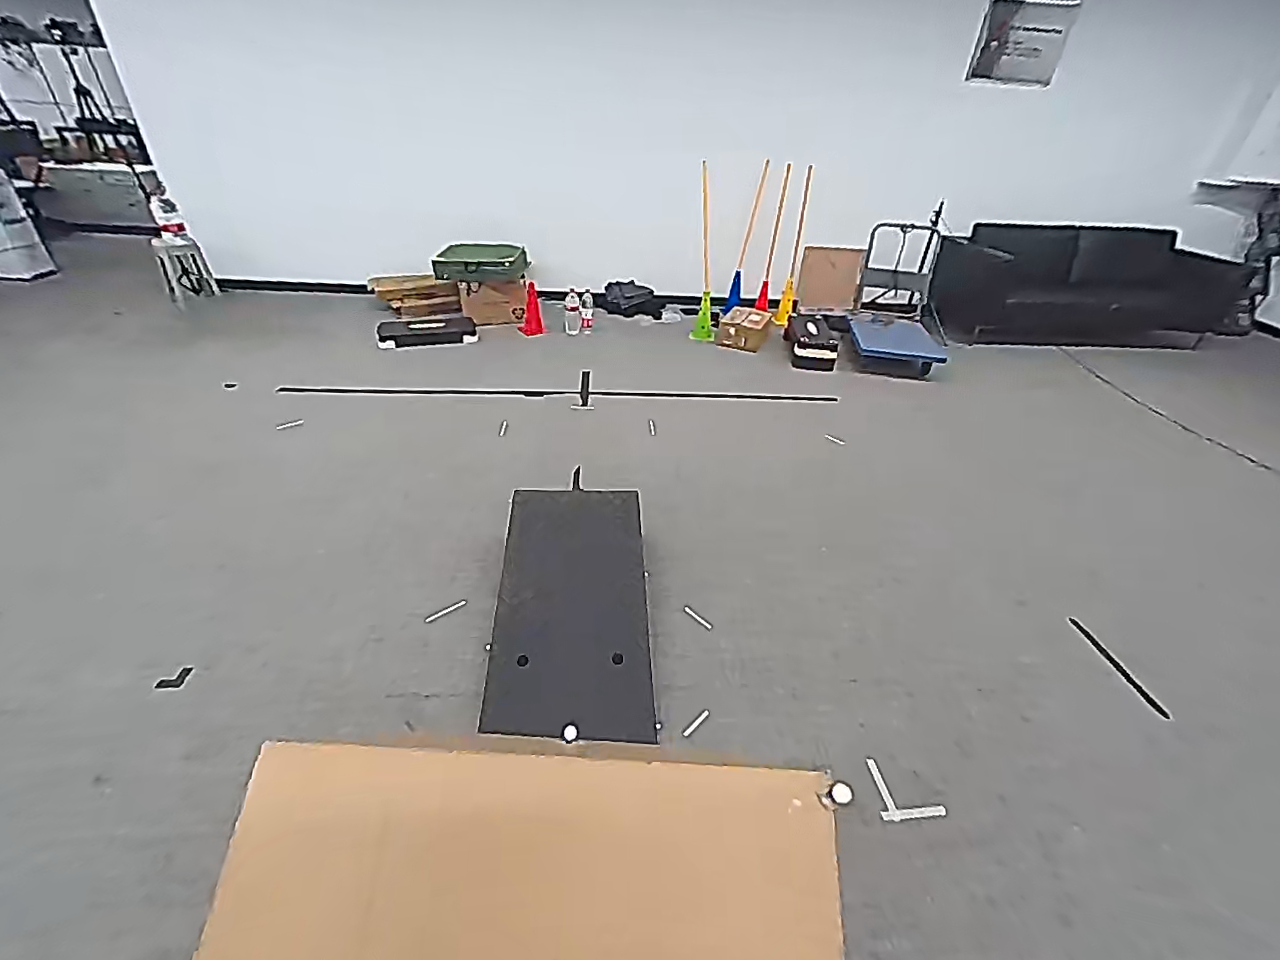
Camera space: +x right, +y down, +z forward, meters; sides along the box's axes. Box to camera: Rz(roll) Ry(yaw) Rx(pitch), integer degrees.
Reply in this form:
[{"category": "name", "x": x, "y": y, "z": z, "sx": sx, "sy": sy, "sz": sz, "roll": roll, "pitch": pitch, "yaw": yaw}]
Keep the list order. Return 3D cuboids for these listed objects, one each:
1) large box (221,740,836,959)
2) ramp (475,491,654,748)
[{"category": "large box", "x": -0.078, "y": 0.406, "z": 0.470, "sx": 0.408, "sy": 0.320, "sz": 0.320, "roll": 3, "pitch": 68, "yaw": -1}, {"category": "ramp", "x": -0.229, "y": 0.406, "z": 1.791, "sx": 0.509, "sy": 0.206, "sz": 0.991, "roll": 1, "pitch": 35, "yaw": -7}]
